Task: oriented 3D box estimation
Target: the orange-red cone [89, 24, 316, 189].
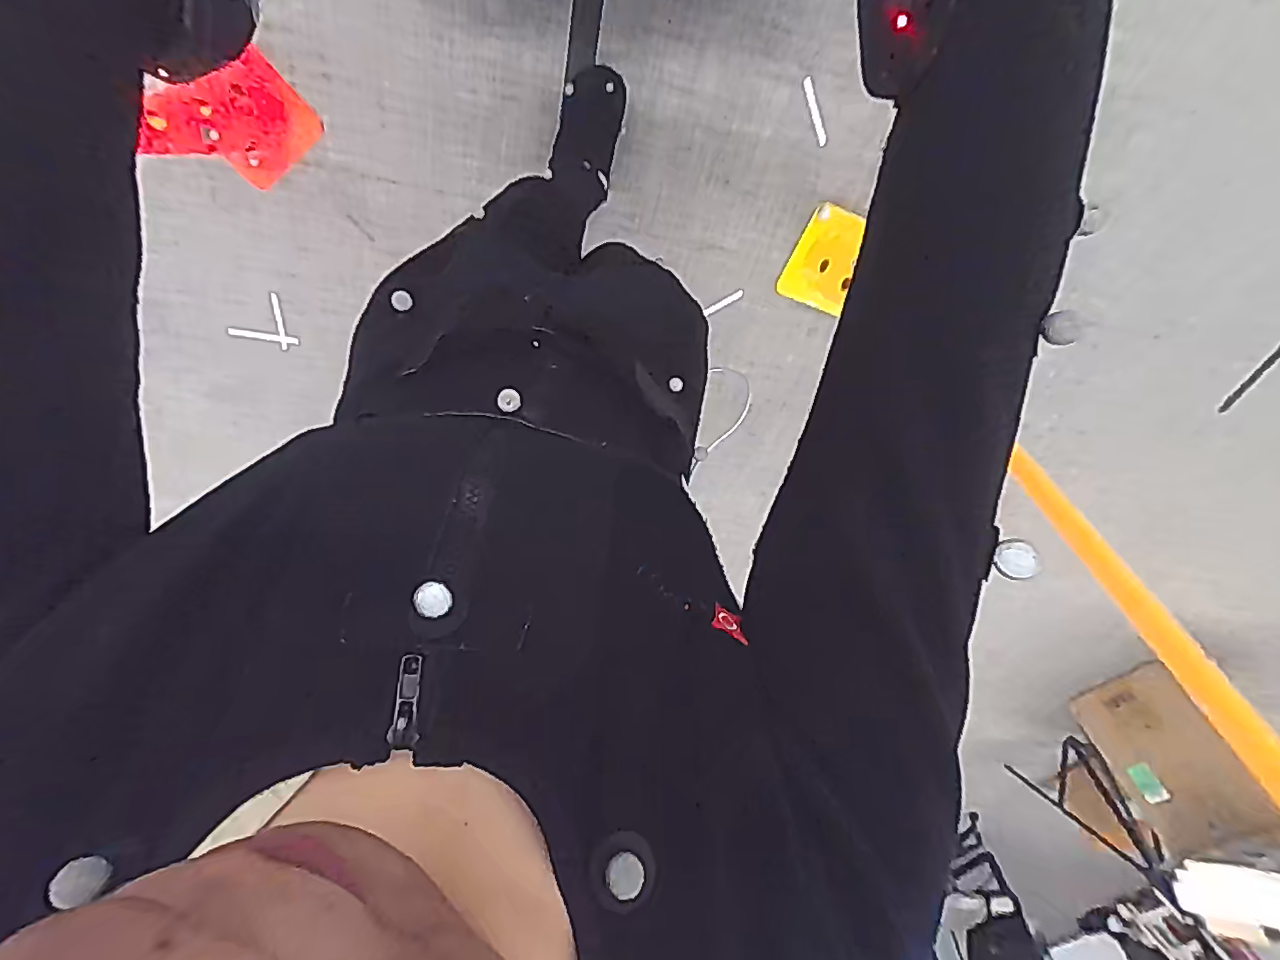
[{"bbox_3d":[-0.711,-0.559,0.843,0.199,0.360,0.198,-28,125,17],"label":"orange-red cone"}]
